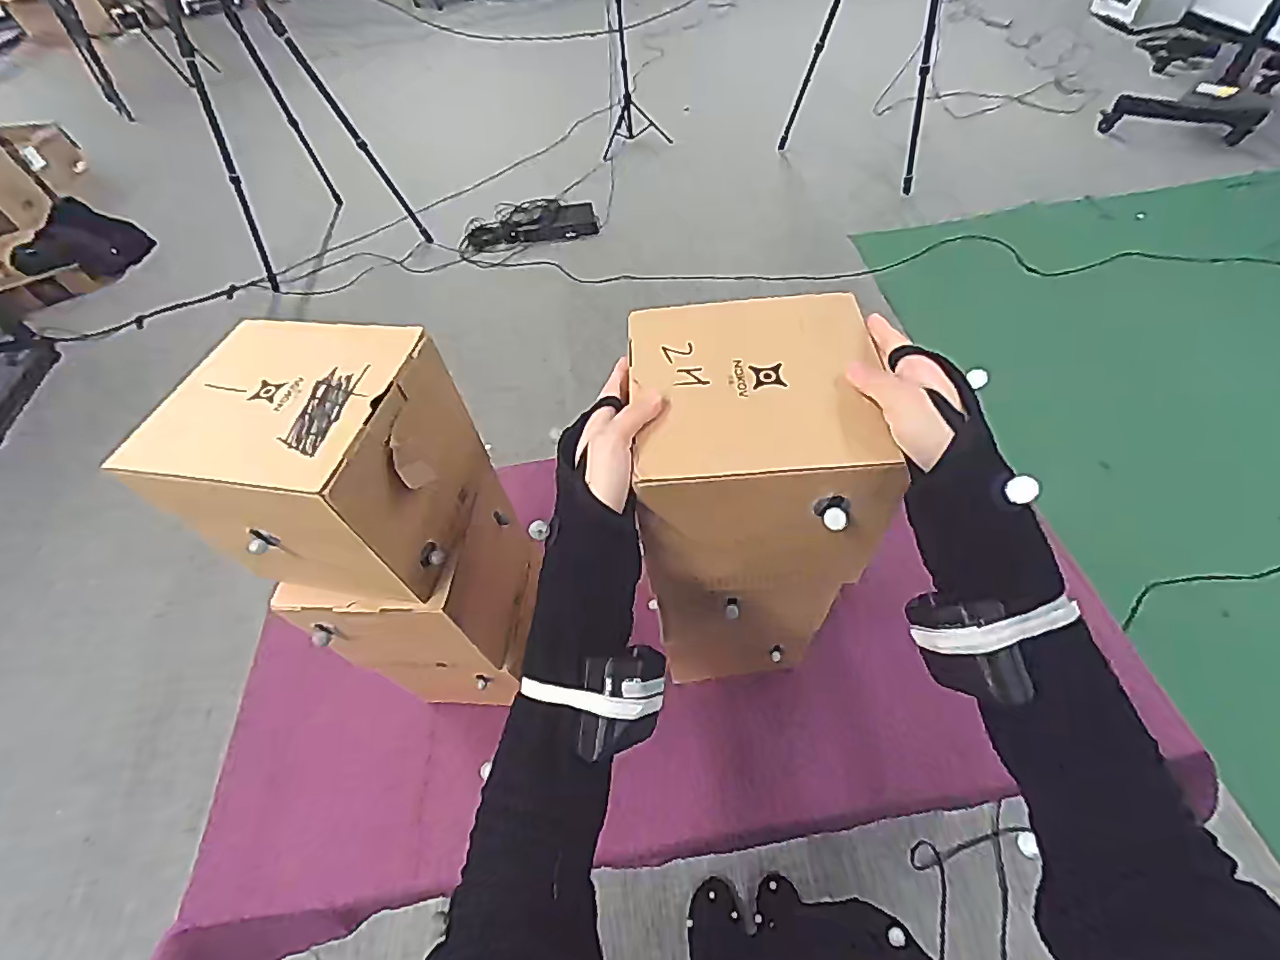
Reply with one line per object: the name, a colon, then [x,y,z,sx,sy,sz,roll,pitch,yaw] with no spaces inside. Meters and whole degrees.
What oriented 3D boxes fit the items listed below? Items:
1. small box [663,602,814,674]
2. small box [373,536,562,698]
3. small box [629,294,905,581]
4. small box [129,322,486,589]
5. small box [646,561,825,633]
small box: [0.113,0.147,0.727,0.179,0.176,0.168,-8,52,1]
small box: [-0.217,0.189,0.734,0.179,0.176,0.168,-1,53,6]
small box: [0.085,-0.028,0.451,0.179,0.176,0.168,-5,53,4]
small box: [-0.262,-0.018,0.482,0.179,0.176,0.168,5,53,11]
small box: [0.096,0.056,0.592,0.179,0.176,0.168,-7,53,2]
